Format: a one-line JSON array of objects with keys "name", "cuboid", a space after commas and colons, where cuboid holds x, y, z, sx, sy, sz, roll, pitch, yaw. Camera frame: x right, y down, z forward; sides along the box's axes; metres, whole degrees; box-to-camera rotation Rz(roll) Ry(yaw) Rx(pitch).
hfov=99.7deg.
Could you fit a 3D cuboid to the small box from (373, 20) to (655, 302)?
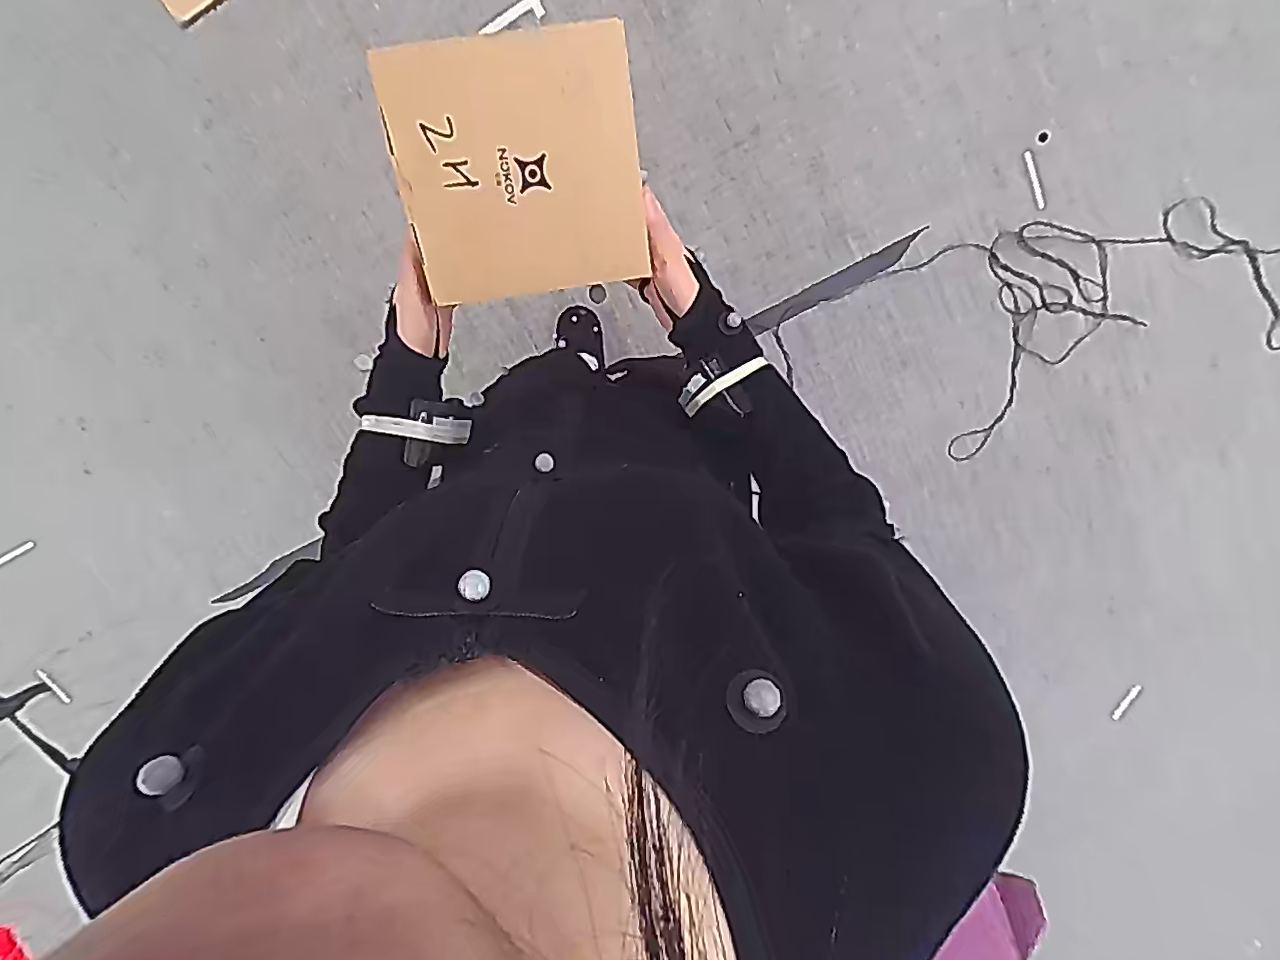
[{"name": "small box", "cuboid": [-0.090, -0.255, 0.460, 0.179, 0.176, 0.168, -8, 114, -2]}]
